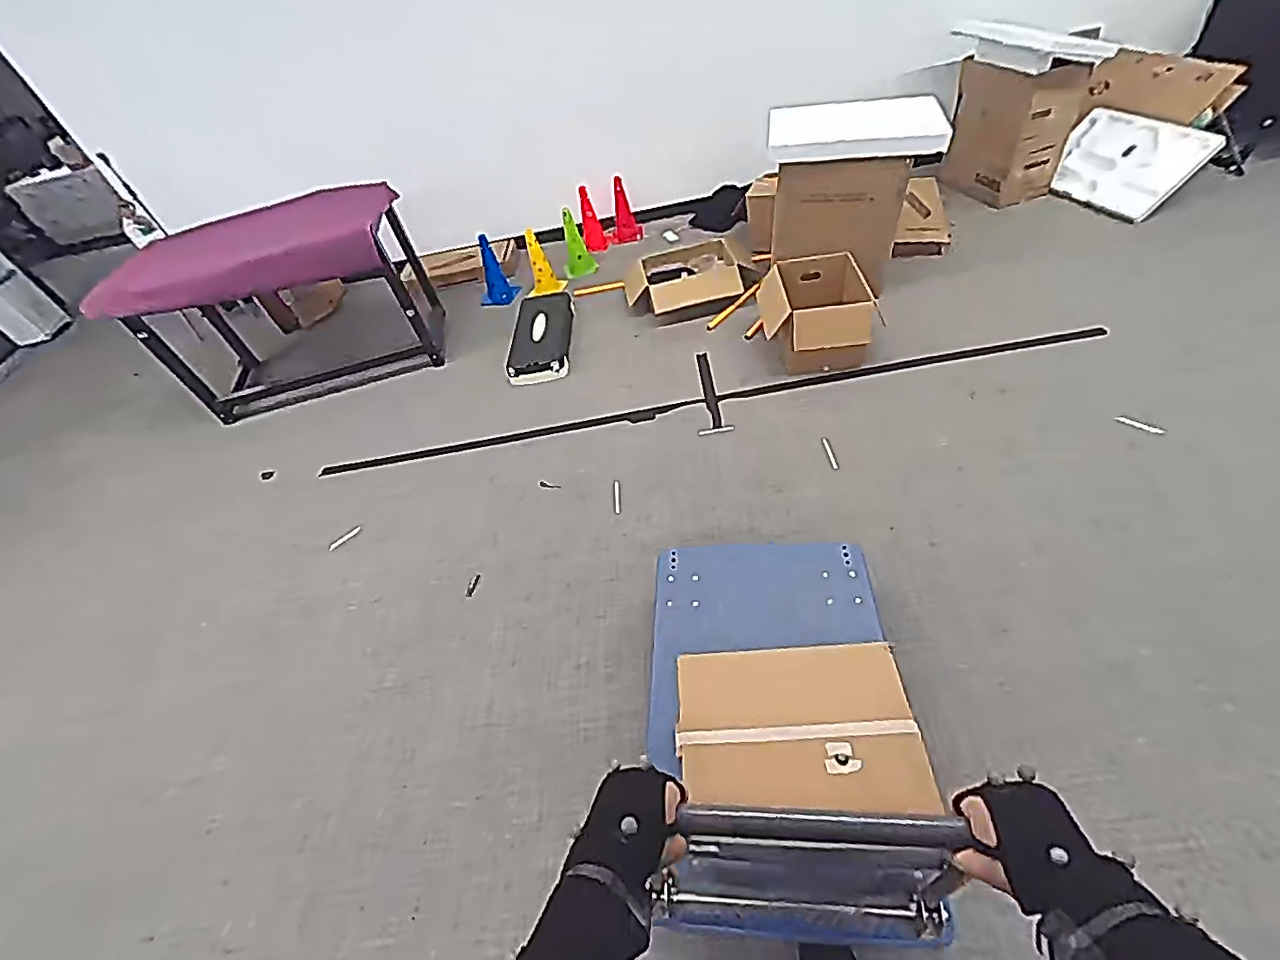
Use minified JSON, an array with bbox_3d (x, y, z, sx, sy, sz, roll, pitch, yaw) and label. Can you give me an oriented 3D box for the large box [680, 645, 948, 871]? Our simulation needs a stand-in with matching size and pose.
[{"bbox_3d":[0.297,0.549,1.057,0.408,0.320,0.320,-6,48,6],"label":"large box"}]
